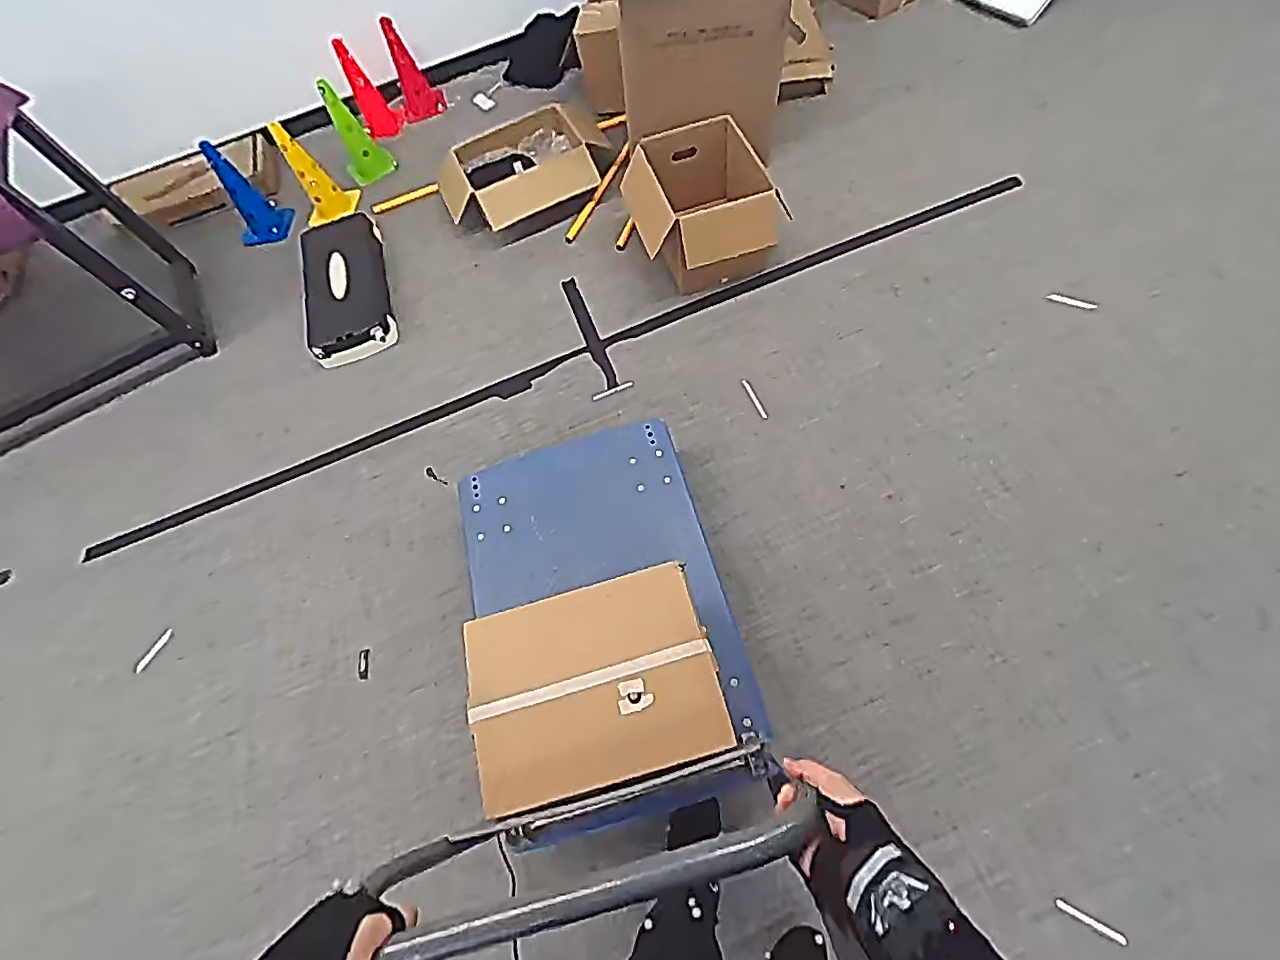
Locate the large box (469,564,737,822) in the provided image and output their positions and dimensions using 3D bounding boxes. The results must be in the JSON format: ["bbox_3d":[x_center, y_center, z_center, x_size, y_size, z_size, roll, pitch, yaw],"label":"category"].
[{"bbox_3d":[-0.061,0.404,1.028,0.408,0.320,0.320,-16,63,-1],"label":"large box"}]
